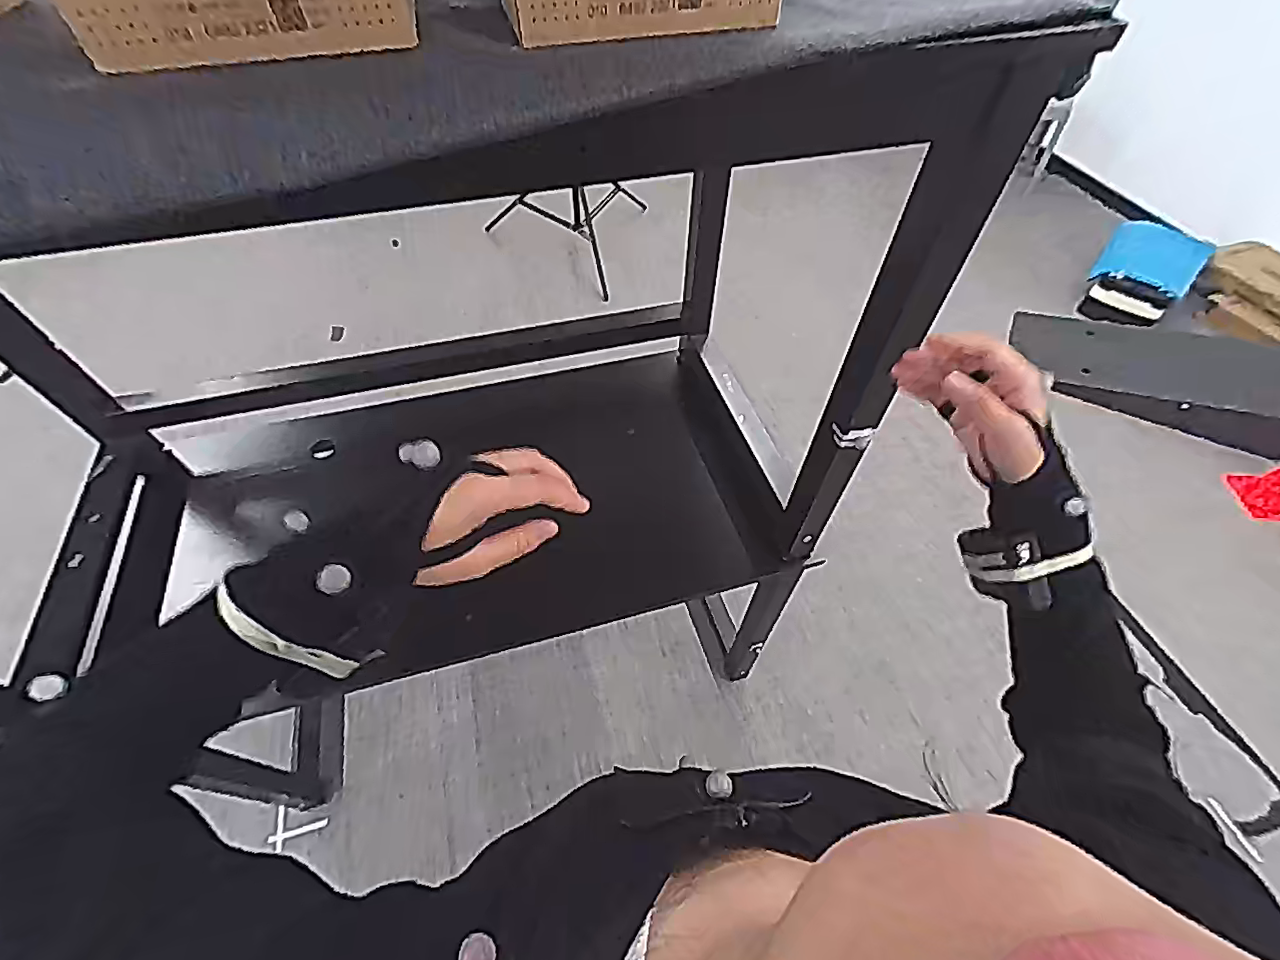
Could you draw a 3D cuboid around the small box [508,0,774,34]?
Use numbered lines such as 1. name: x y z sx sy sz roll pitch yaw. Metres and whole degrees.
1. small box: -0.013 -0.389 0.316 0.168 0.176 0.179 -13 54 -8
